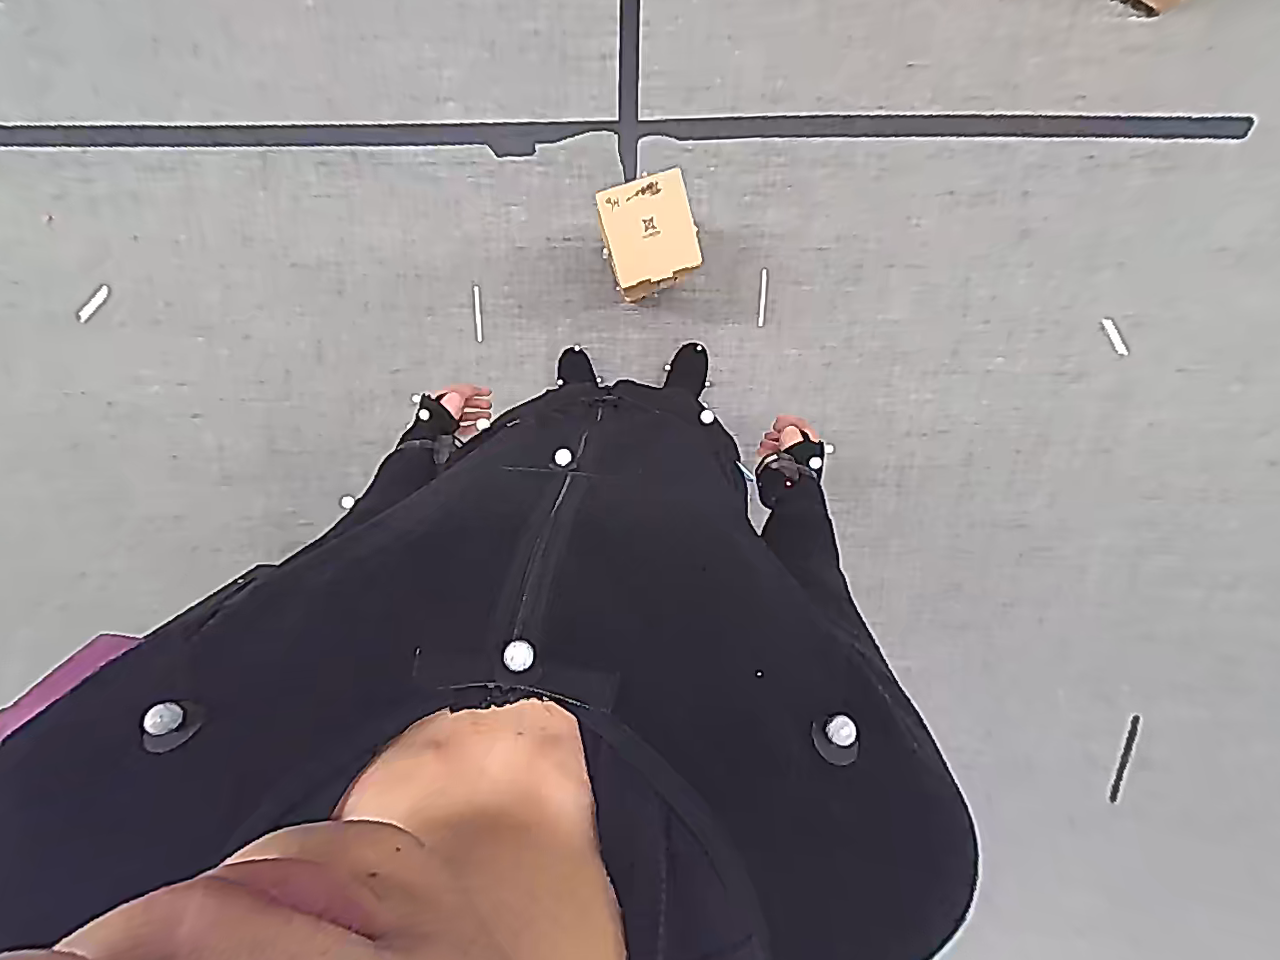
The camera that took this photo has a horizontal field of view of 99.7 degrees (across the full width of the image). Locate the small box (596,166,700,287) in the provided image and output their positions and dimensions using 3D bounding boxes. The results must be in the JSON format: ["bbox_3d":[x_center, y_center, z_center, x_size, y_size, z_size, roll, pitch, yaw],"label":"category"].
[{"bbox_3d":[0.018,-0.500,1.091,0.168,0.176,0.179,-15,107,4],"label":"small box"}]
